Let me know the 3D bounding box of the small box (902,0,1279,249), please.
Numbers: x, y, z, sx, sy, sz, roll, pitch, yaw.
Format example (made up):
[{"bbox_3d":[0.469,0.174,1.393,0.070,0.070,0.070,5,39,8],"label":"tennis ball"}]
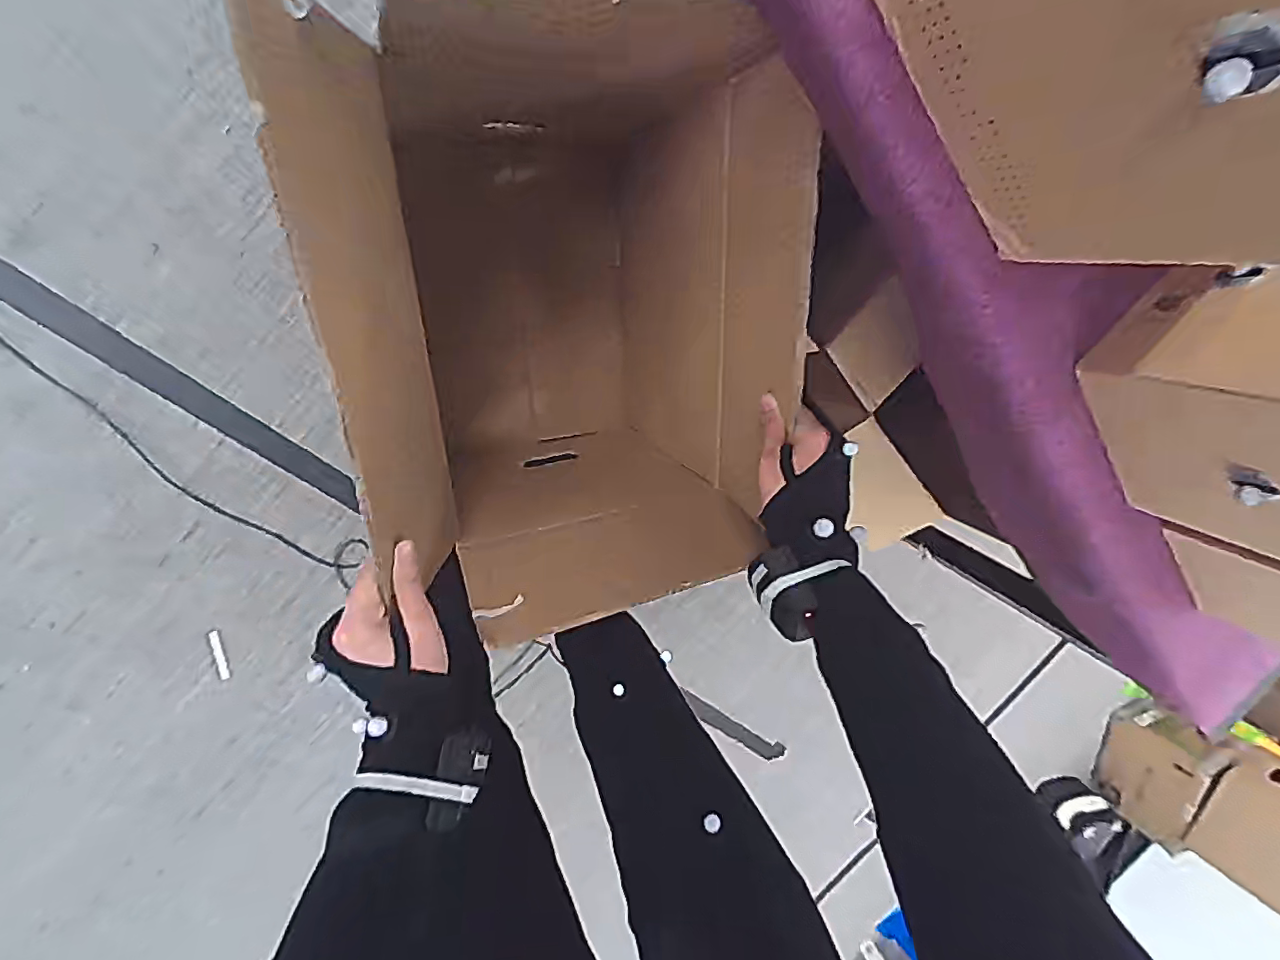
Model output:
[{"bbox_3d":[0.239,-0.208,0.205,0.179,0.176,0.168,40,95,-29],"label":"small box"}]
